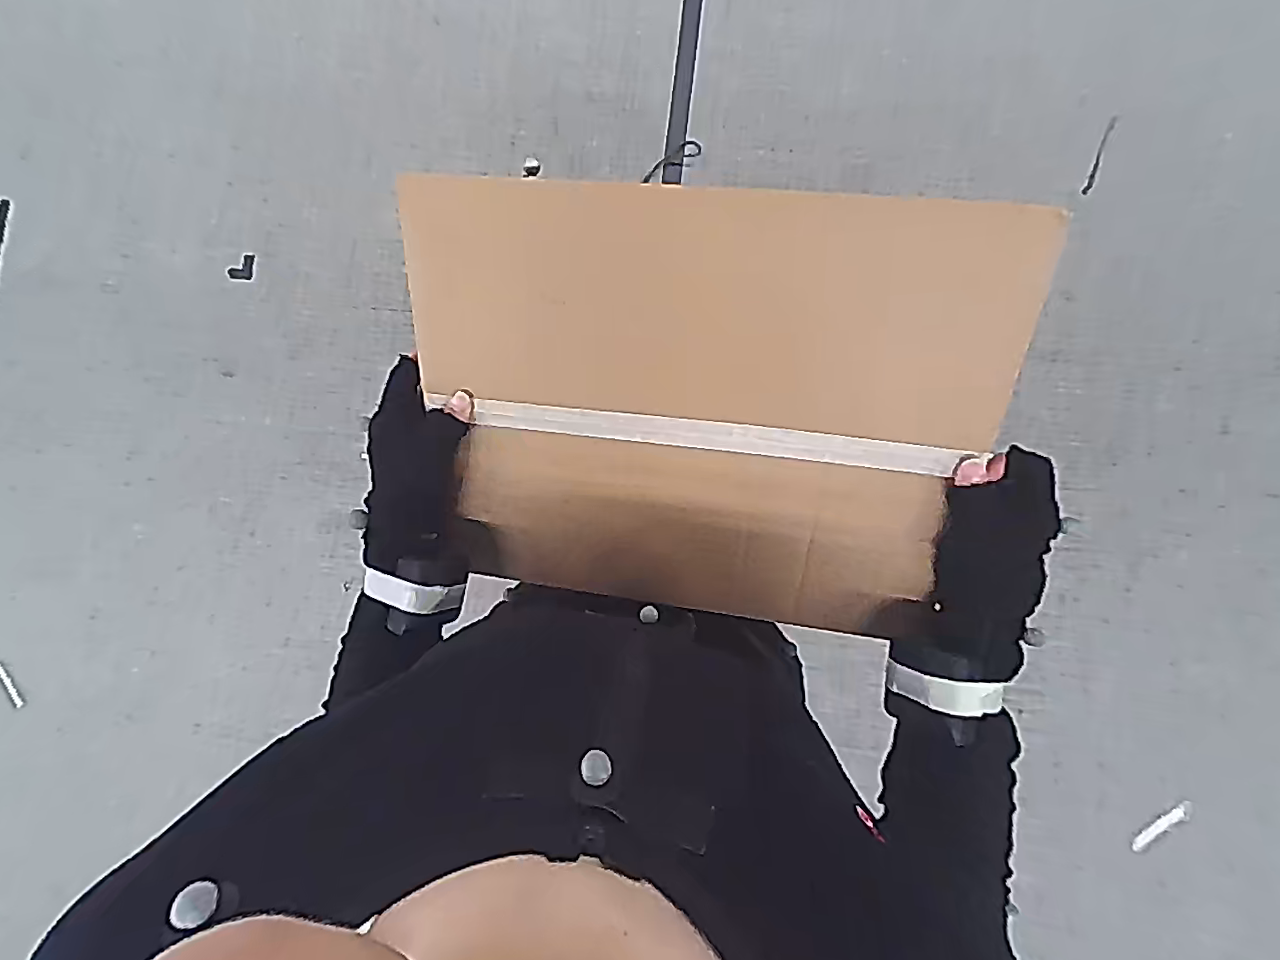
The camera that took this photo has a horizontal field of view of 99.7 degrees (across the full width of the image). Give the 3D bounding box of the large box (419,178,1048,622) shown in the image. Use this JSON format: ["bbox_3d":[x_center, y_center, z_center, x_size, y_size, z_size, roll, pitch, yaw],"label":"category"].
[{"bbox_3d":[0.061,-0.105,0.536,0.408,0.320,0.320,8,117,8],"label":"large box"}]
